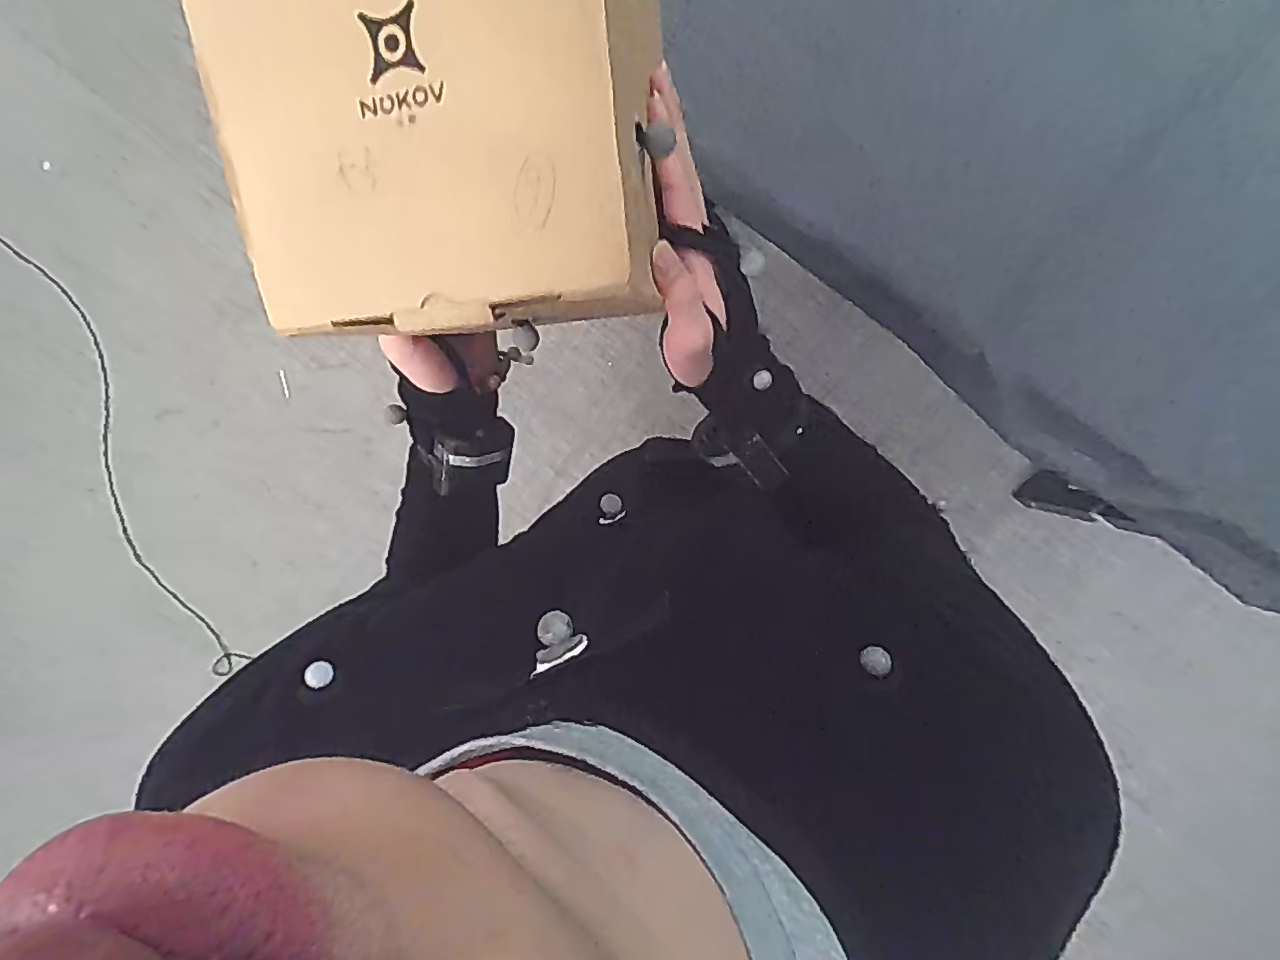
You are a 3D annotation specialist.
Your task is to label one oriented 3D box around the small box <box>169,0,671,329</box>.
[{"bbox_3d":[-0.077,-0.175,0.269,0.168,0.176,0.179,-4,105,9],"label":"small box"}]
